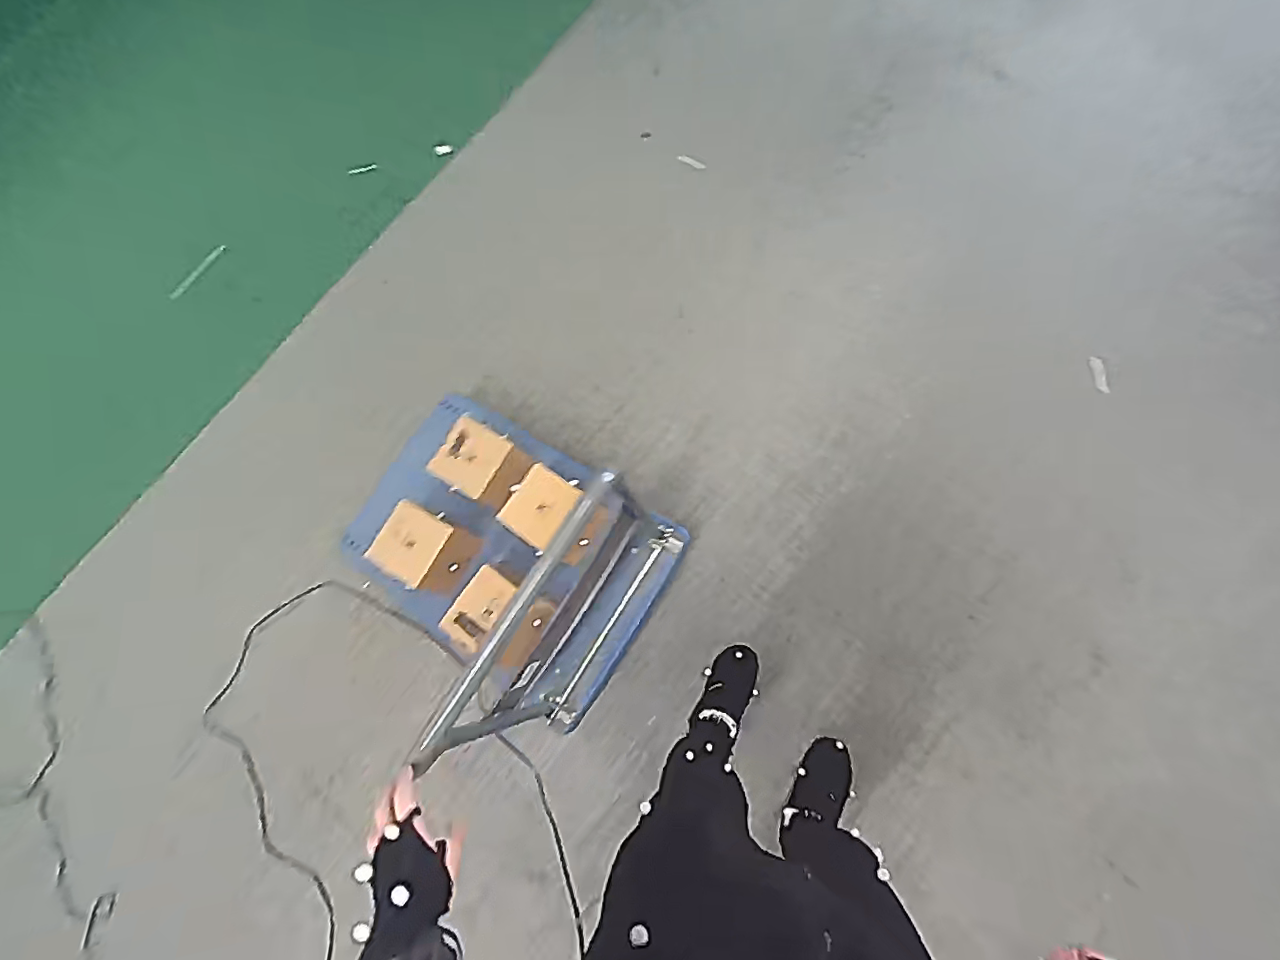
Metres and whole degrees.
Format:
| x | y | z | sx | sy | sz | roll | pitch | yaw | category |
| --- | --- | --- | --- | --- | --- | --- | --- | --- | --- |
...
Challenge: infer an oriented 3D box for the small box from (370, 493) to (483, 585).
| x | y | z | sx | sy | sz | roll | pitch | yaw | category |
| --- | --- | --- | --- | --- | --- | --- | --- | --- | --- |
| -0.543 | 0.160 | 1.400 | 0.179 | 0.176 | 0.168 | 28 | 81 | 18 | small box |

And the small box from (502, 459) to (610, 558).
| x | y | z | sx | sy | sz | roll | pitch | yaw | category |
| --- | --- | --- | --- | --- | --- | --- | --- | --- | --- |
| -0.204 | 0.080 | 1.354 | 0.179 | 0.176 | 0.168 | 33 | 83 | 19 | small box |

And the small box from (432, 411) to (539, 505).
| x | y | z | sx | sy | sz | roll | pitch | yaw | category |
| --- | --- | --- | --- | --- | --- | --- | --- | --- | --- |
| -0.401 | -0.051 | 1.431 | 0.179 | 0.176 | 0.168 | 30 | 83 | 18 | small box |
